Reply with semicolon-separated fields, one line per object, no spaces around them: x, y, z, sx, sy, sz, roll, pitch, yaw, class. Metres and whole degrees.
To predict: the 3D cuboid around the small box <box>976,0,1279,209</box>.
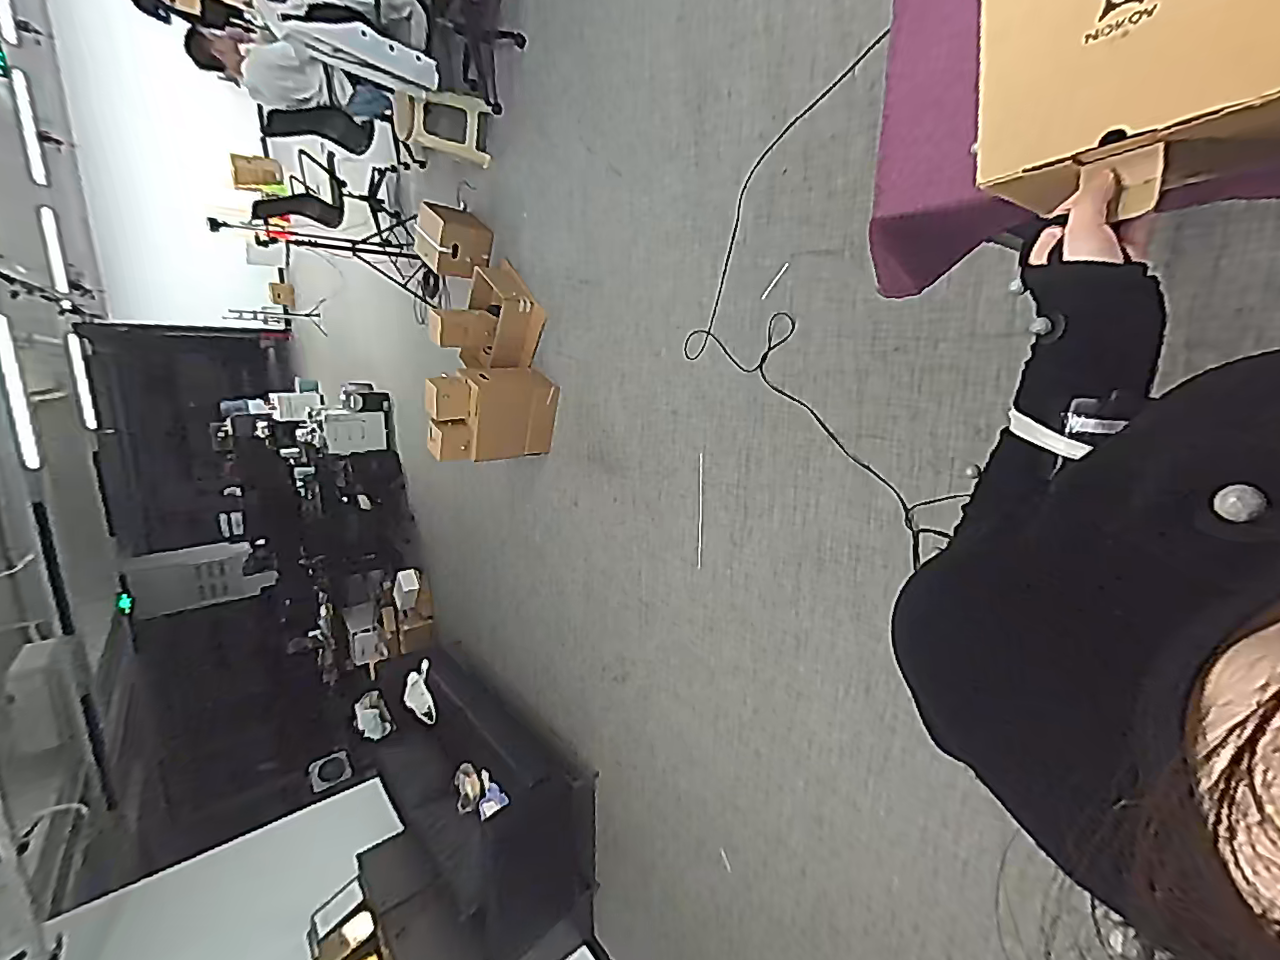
0.382;-0.331;0.414;0.168;0.176;0.179;8;106;51;small box
